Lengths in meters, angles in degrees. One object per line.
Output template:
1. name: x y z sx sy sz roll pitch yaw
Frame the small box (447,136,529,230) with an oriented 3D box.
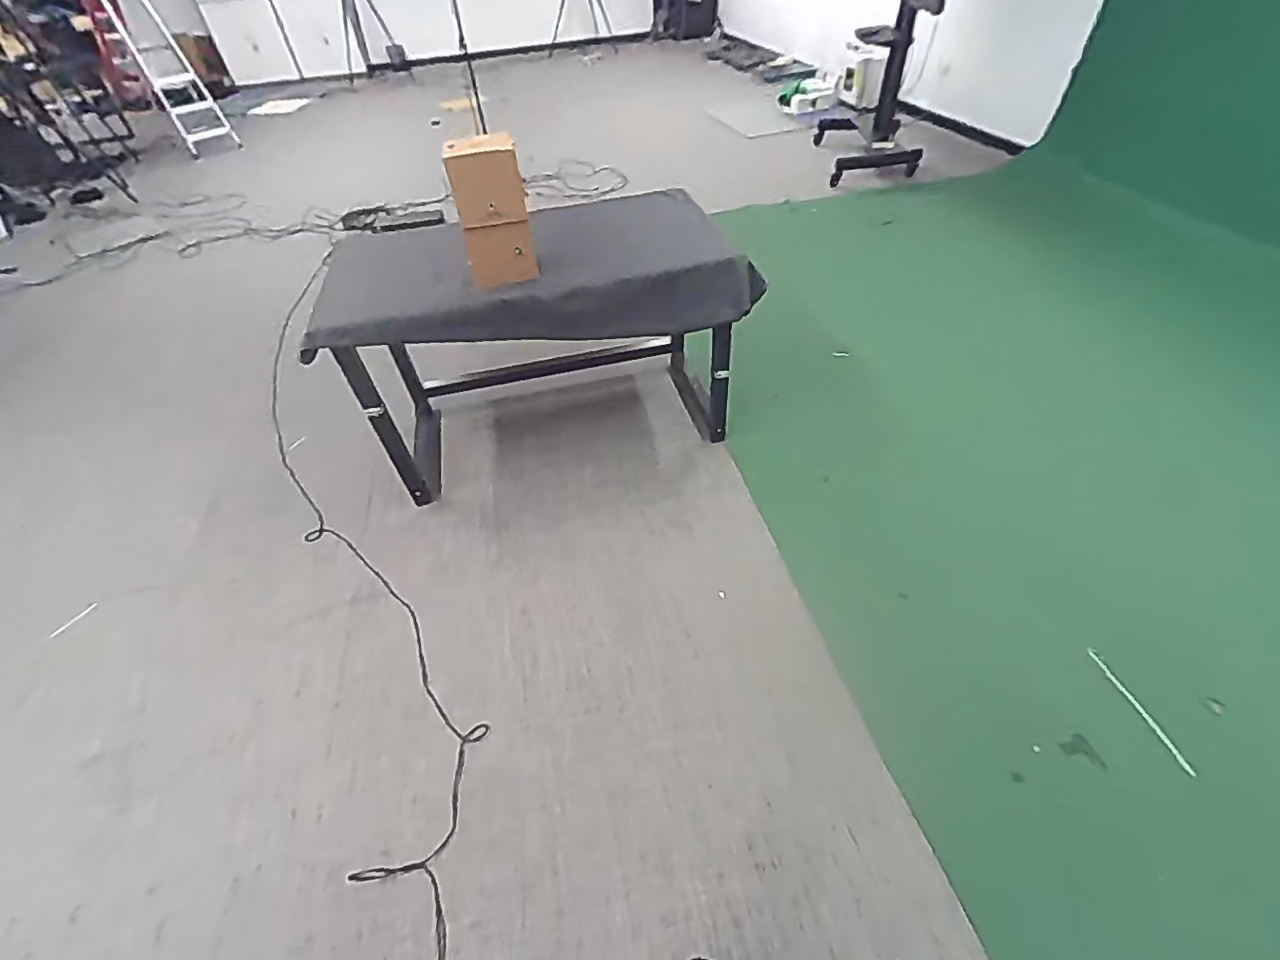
1. small box: -0.389 -0.773 1.408 0.179 0.176 0.168 -12 45 -7

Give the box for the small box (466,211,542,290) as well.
1. small box: -0.381 -0.661 1.528 0.179 0.176 0.168 -14 45 -6
